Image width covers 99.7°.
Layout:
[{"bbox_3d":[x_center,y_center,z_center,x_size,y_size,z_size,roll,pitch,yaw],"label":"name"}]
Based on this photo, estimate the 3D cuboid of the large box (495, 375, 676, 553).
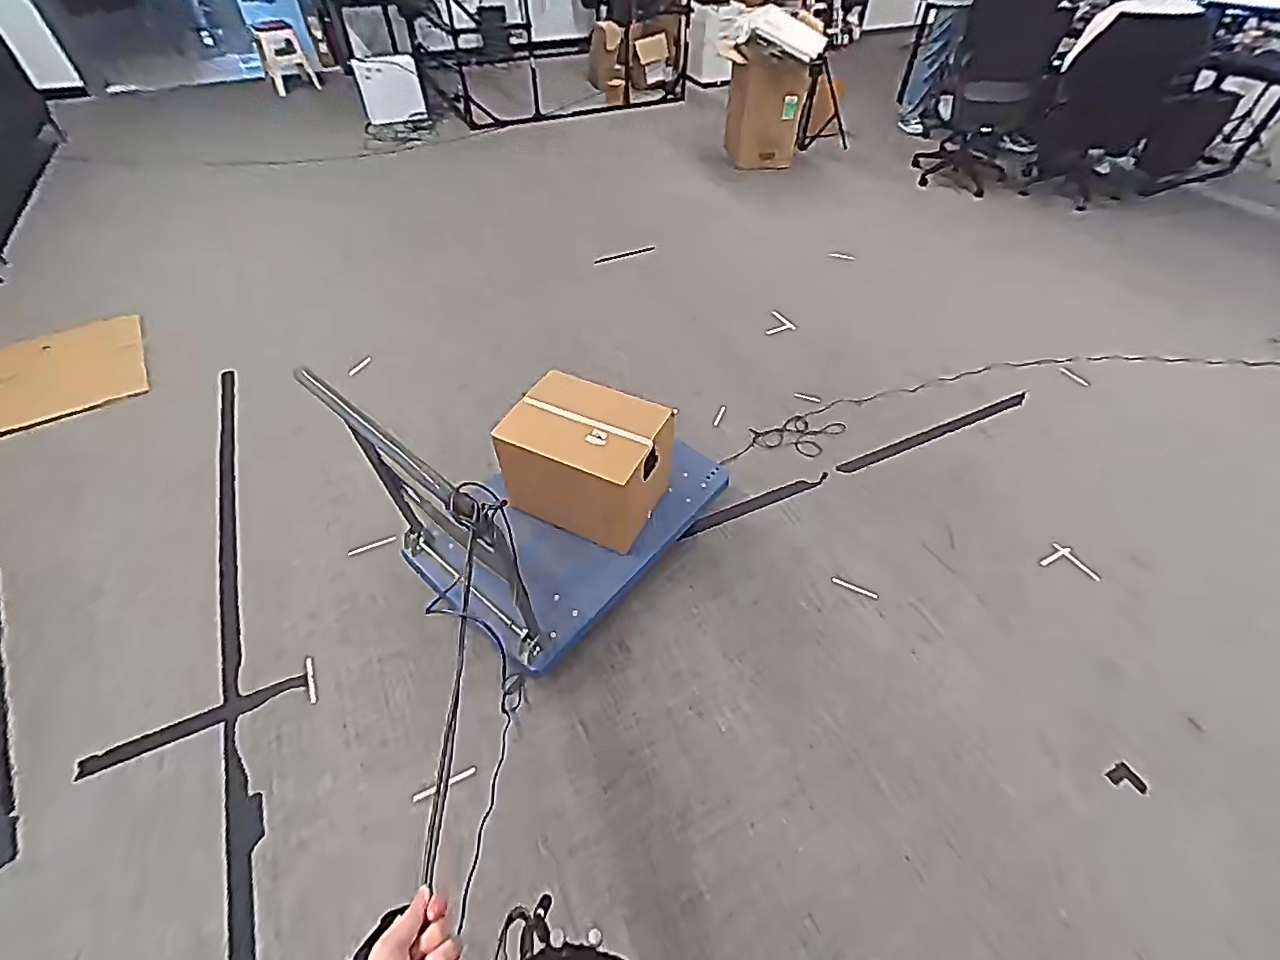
[{"bbox_3d":[-0.147,-0.049,1.572,0.408,0.320,0.320,21,52,16],"label":"large box"}]
